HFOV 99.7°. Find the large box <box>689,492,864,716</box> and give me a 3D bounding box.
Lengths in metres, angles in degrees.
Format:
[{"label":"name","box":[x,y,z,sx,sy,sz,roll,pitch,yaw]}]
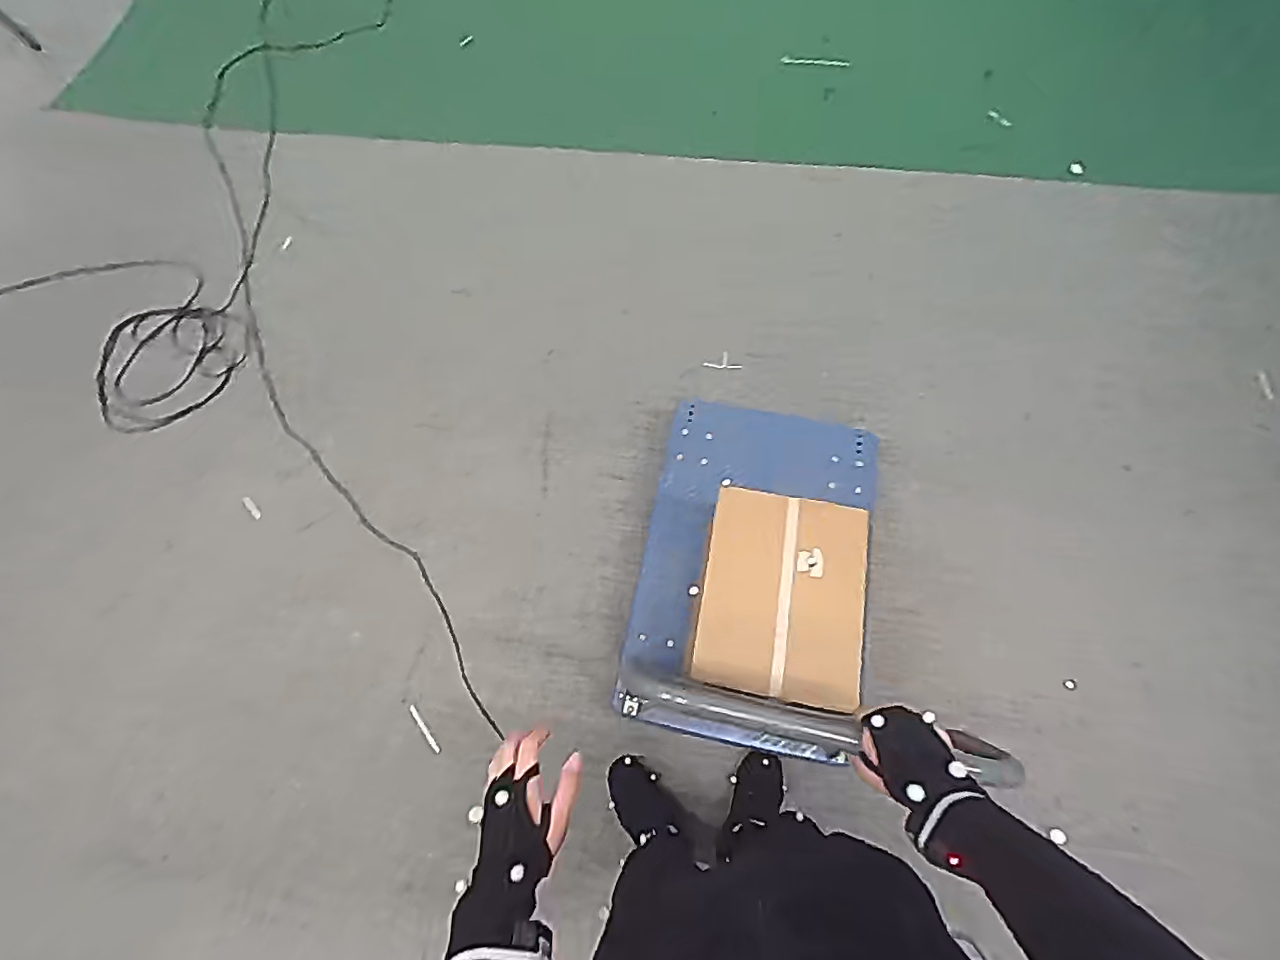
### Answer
[{"label":"large box","box":[0.290,0.288,1.207,0.320,0.320,0.408,10,67,5]}]
